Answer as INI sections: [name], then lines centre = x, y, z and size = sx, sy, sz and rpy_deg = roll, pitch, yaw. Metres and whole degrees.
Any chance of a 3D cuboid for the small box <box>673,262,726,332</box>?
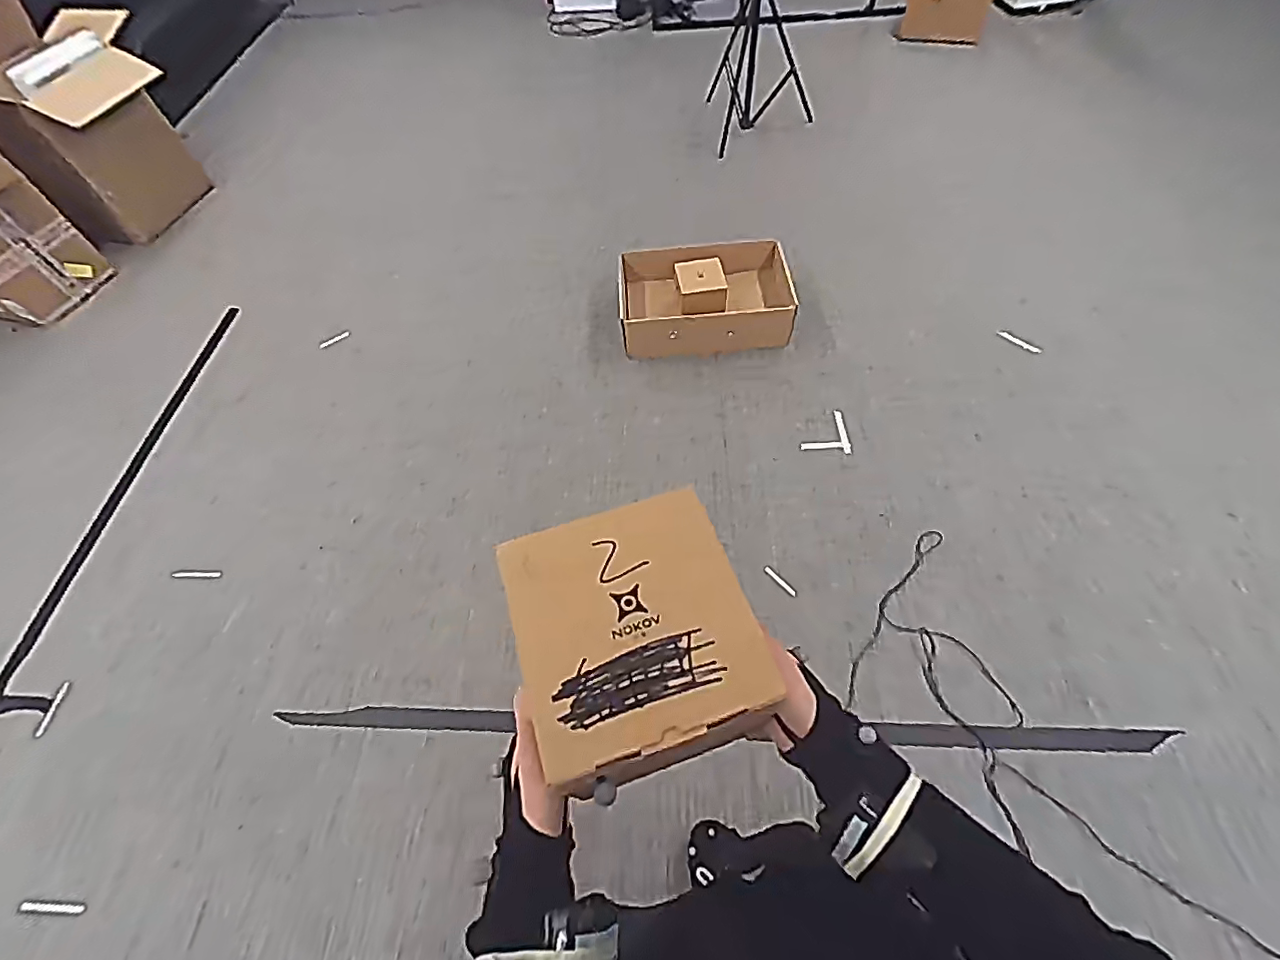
[small box]
centre = 0.216, -0.678, 2.009
size = 0.168, 0.176, 0.179
rpy_deg = -9, 58, -1
